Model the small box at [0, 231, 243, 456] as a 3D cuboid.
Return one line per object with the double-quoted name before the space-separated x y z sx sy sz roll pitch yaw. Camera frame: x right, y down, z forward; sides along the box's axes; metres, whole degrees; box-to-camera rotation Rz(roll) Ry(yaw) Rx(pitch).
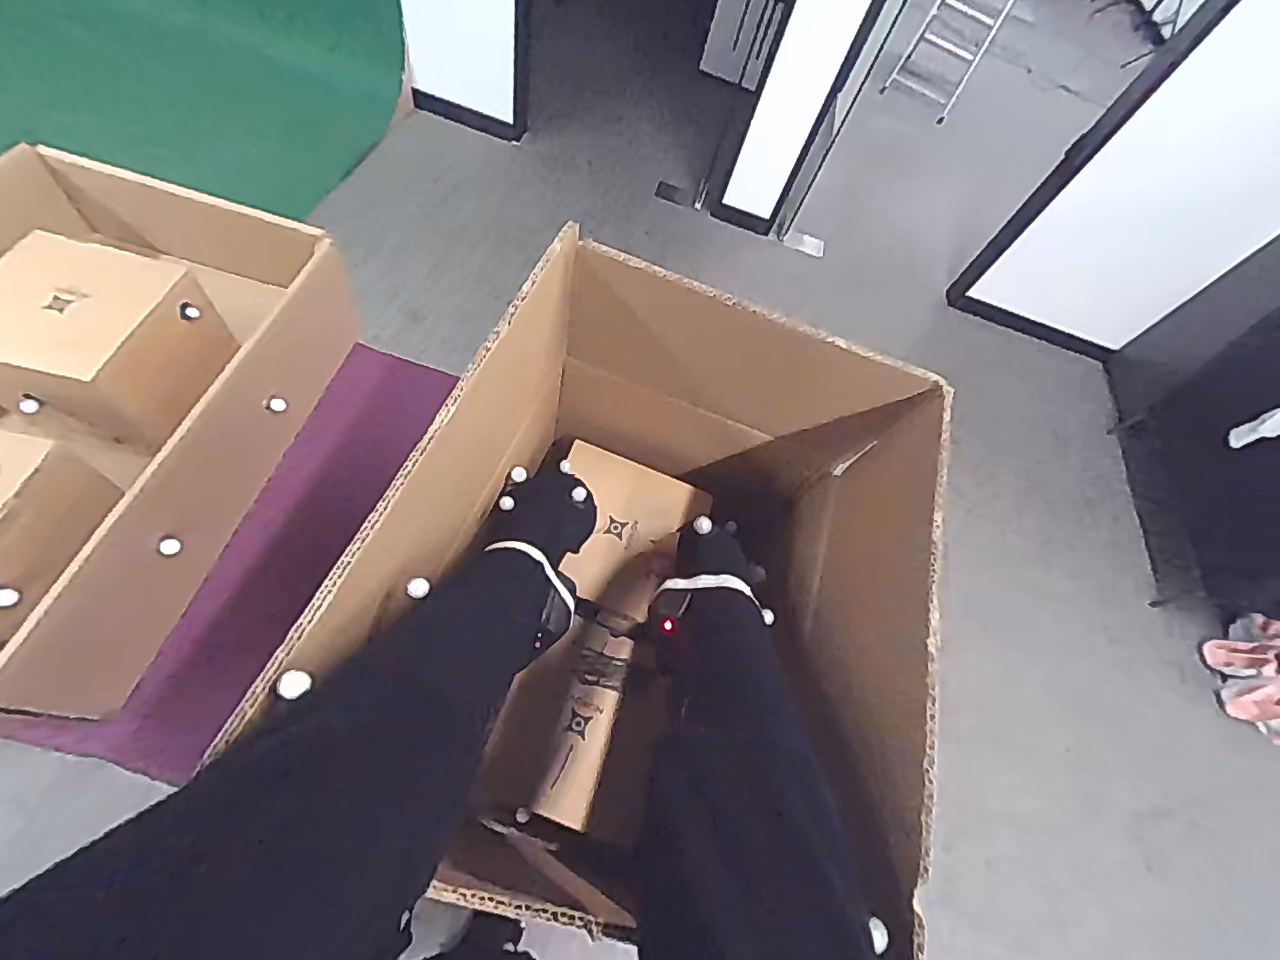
"small box" -0.622 -0.151 0.641 0.168 0.176 0.179 13 59 -5
